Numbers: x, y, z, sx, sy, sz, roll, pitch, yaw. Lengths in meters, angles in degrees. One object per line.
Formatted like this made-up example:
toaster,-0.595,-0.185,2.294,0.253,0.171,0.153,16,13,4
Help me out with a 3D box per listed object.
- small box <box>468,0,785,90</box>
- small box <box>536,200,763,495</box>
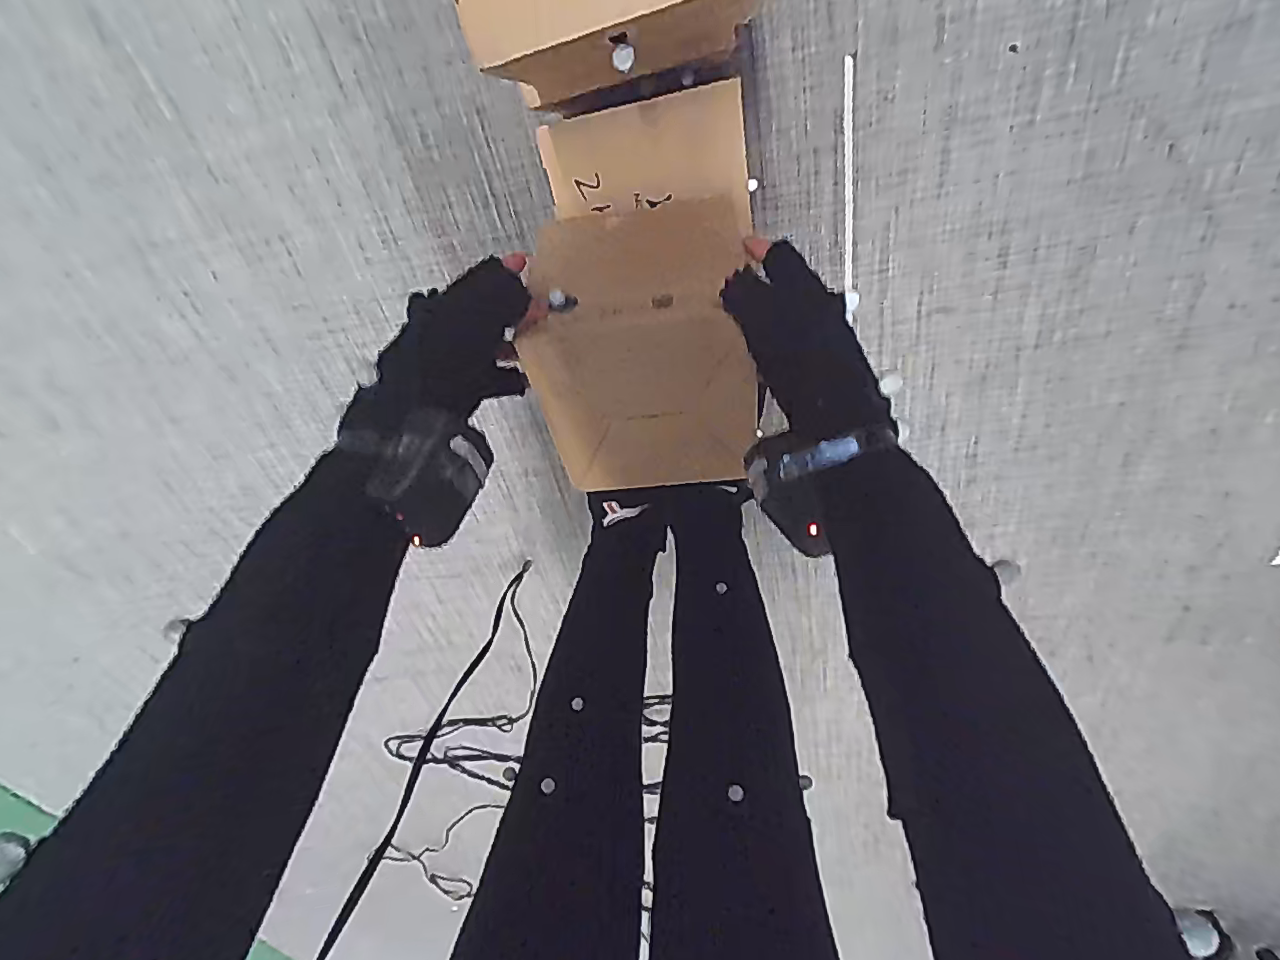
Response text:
small box,-0.014,-0.353,0.319,0.179,0.176,0.168,-9,122,12
small box,0.015,-0.108,0.474,0.168,0.176,0.179,-5,142,8
